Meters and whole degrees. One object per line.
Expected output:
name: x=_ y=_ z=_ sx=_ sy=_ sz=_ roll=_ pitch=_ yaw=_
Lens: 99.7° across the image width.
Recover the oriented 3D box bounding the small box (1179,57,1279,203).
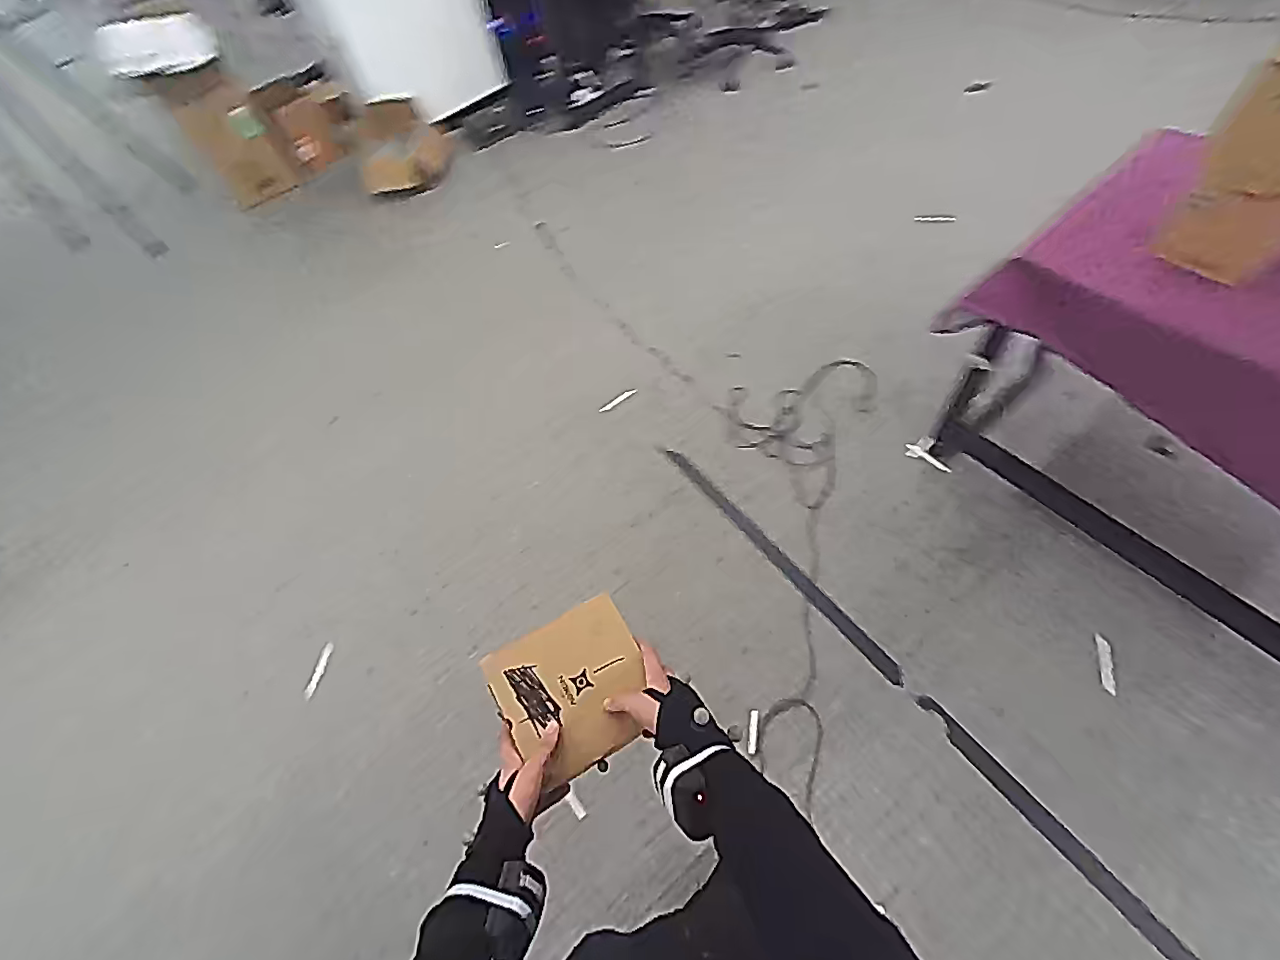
small box: x=1.079 y=-0.594 z=0.896 sx=0.168 sy=0.176 sz=0.179 roll=-30 pitch=59 yaw=-9
